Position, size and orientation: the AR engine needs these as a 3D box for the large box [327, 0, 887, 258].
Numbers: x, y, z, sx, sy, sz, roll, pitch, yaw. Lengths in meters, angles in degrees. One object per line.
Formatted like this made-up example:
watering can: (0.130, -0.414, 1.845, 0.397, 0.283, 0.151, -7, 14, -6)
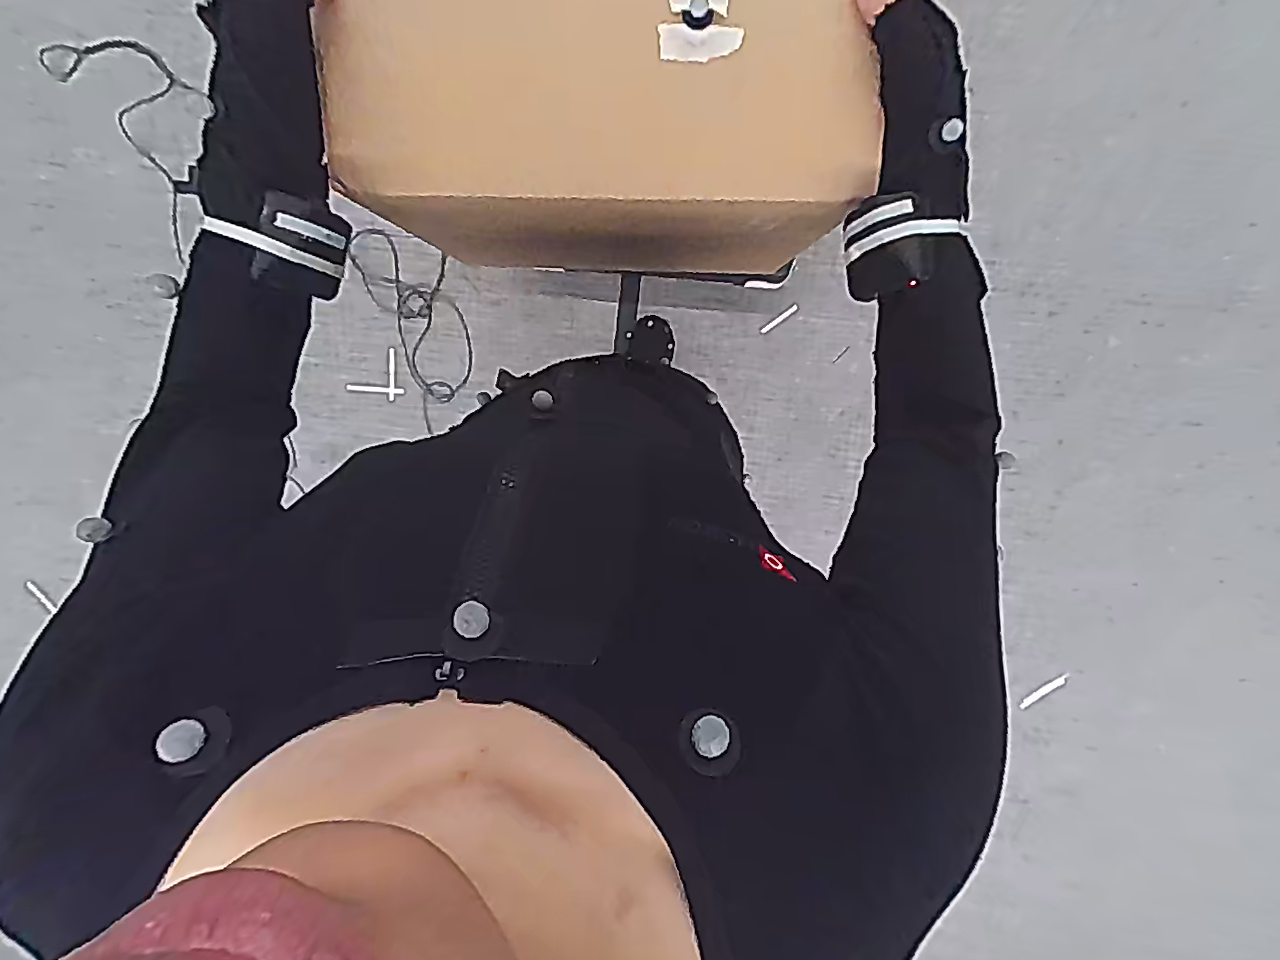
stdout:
large box: (-0.024, -0.407, 0.520, 0.408, 0.320, 0.320, 1, 102, 0)
